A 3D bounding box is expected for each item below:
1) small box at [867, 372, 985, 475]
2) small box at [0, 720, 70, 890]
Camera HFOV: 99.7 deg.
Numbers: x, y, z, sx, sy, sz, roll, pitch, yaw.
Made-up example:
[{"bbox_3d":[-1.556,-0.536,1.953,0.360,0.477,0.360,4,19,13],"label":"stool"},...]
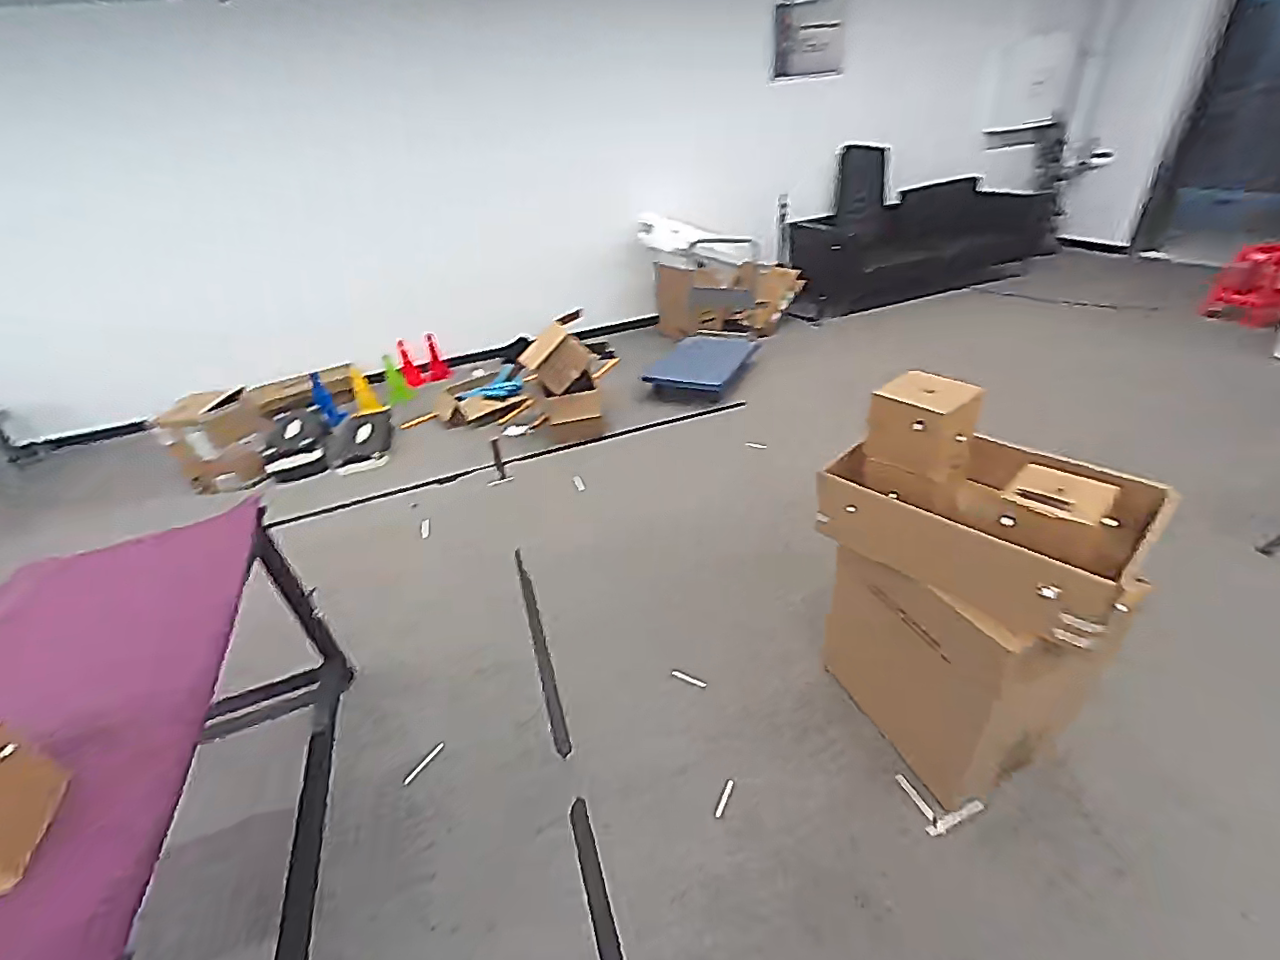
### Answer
[{"bbox_3d":[0.661,-0.130,1.266,0.168,0.176,0.179,-27,37,-27],"label":"small box"},{"bbox_3d":[-0.998,0.496,0.779,0.168,0.176,0.179,-18,33,-16],"label":"small box"}]
